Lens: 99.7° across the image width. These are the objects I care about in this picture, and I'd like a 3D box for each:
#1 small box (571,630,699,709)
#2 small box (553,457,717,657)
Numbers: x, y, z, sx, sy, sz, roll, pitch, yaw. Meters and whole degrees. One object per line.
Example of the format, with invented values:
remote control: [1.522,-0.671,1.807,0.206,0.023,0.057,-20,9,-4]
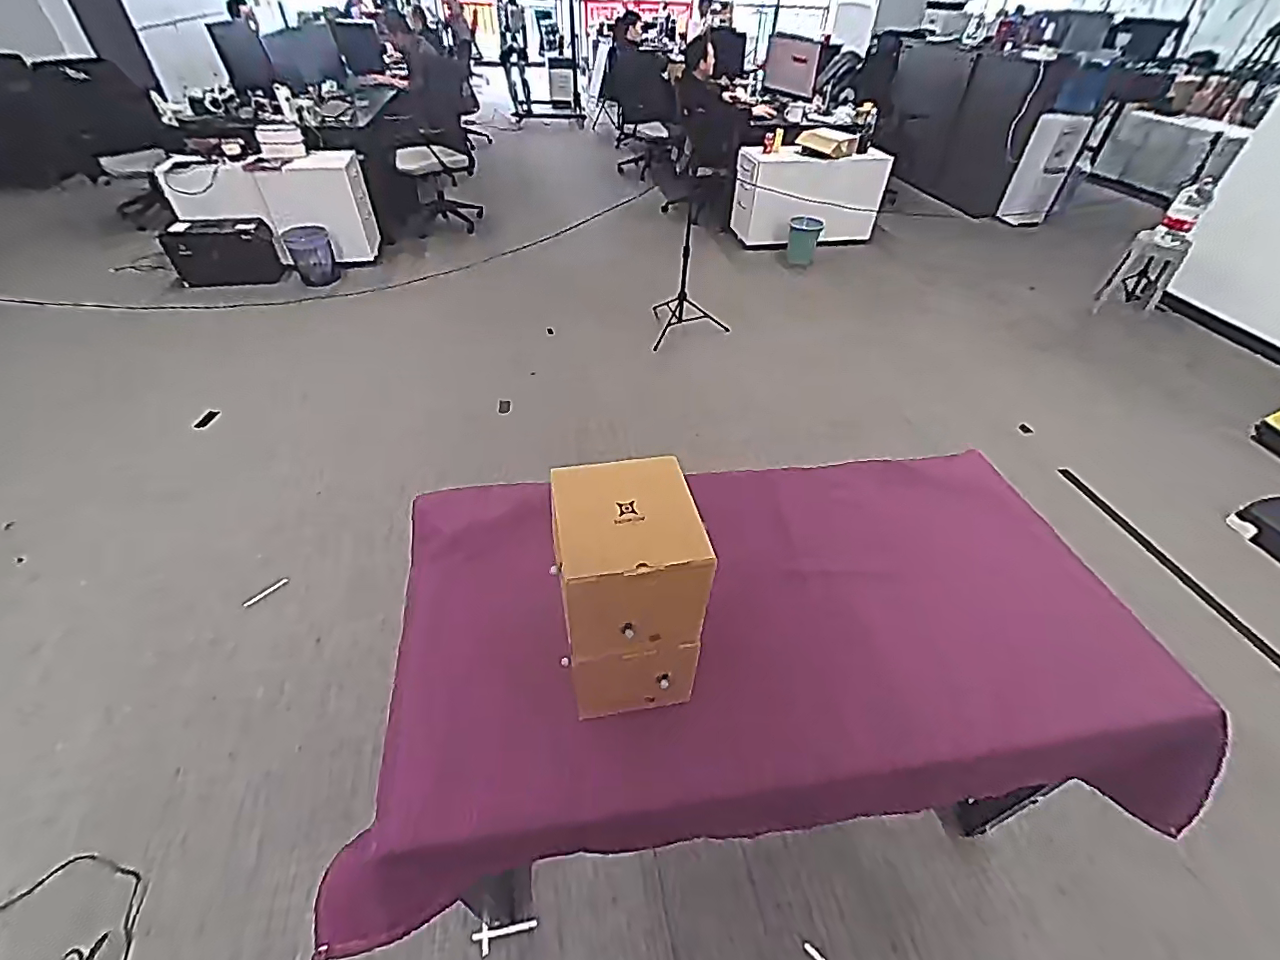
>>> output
small box: [-0.019,0.216,0.793,0.168,0.176,0.179,-6,44,-9]
small box: [-0.018,0.095,0.685,0.168,0.176,0.179,-7,45,-11]
